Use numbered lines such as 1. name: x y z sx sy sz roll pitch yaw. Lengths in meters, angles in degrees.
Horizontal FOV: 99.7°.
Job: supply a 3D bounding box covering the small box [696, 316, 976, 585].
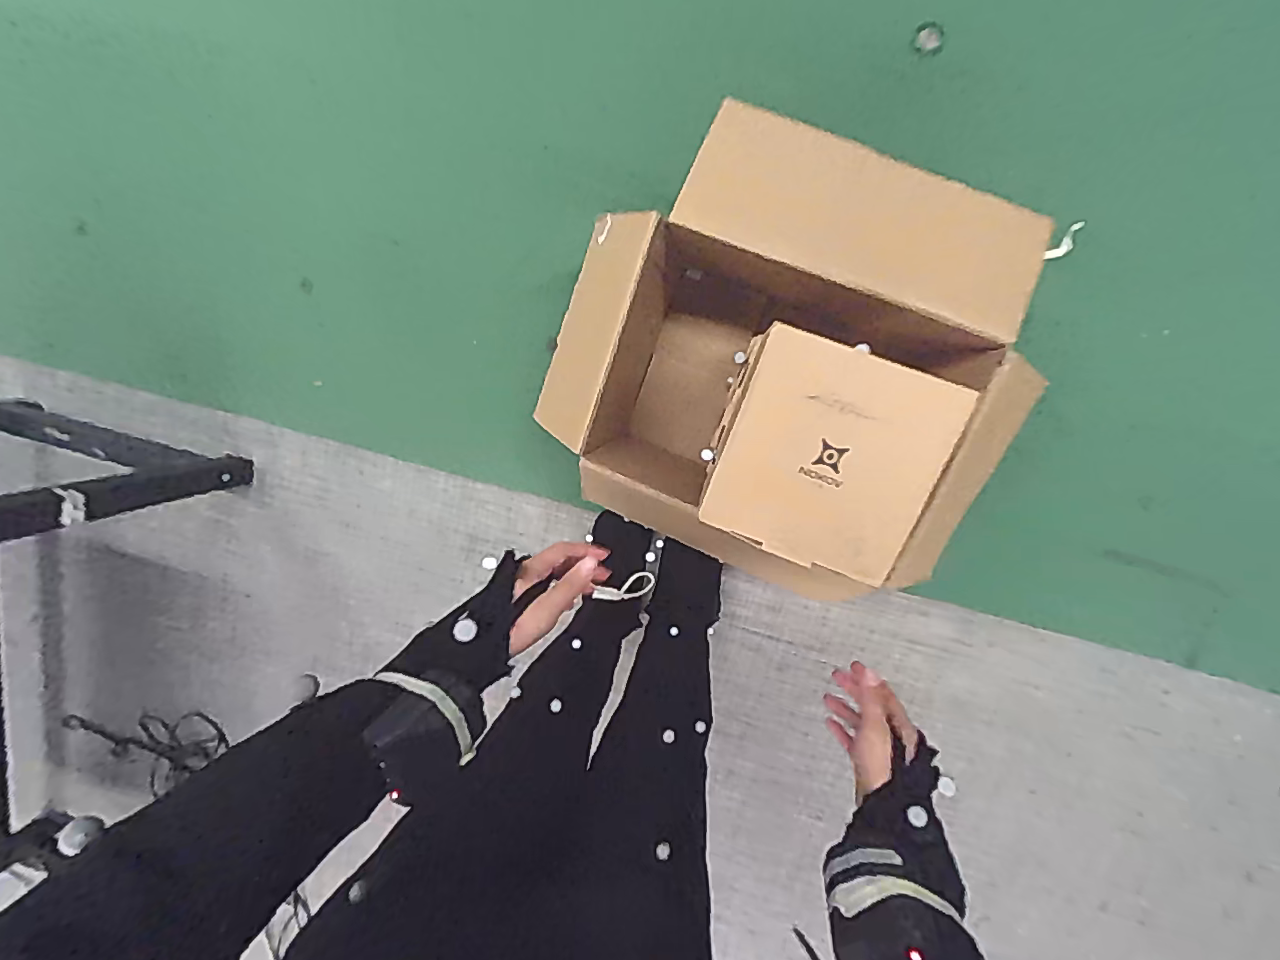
1. small box: 0.163 -0.035 0.507 0.168 0.176 0.179 21 103 5
